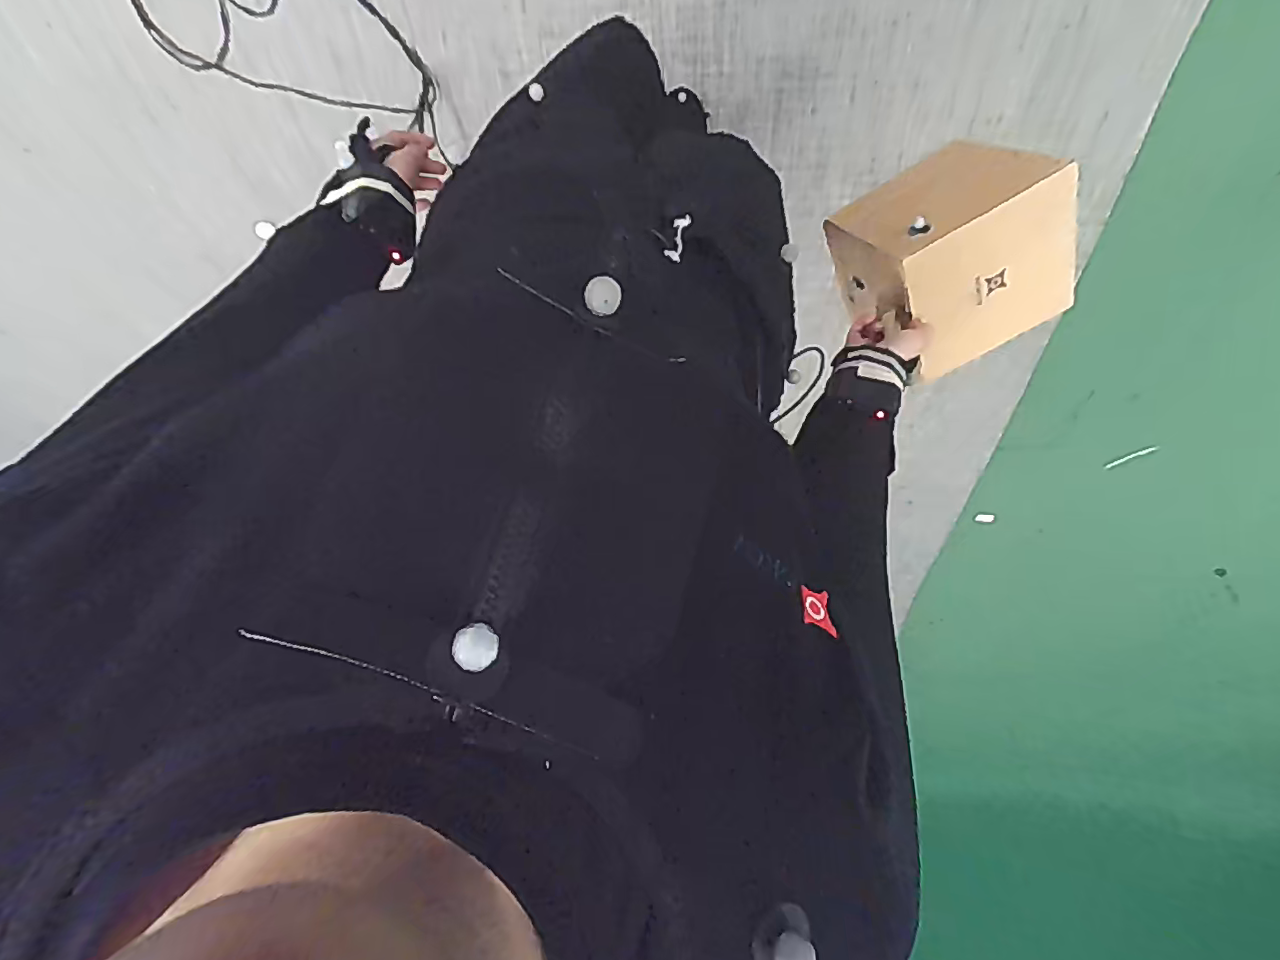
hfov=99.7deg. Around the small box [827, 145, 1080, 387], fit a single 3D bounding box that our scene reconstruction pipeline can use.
[{"bbox_3d":[0.345,-0.246,0.615,0.179,0.176,0.168,-29,130,11],"label":"small box"}]
